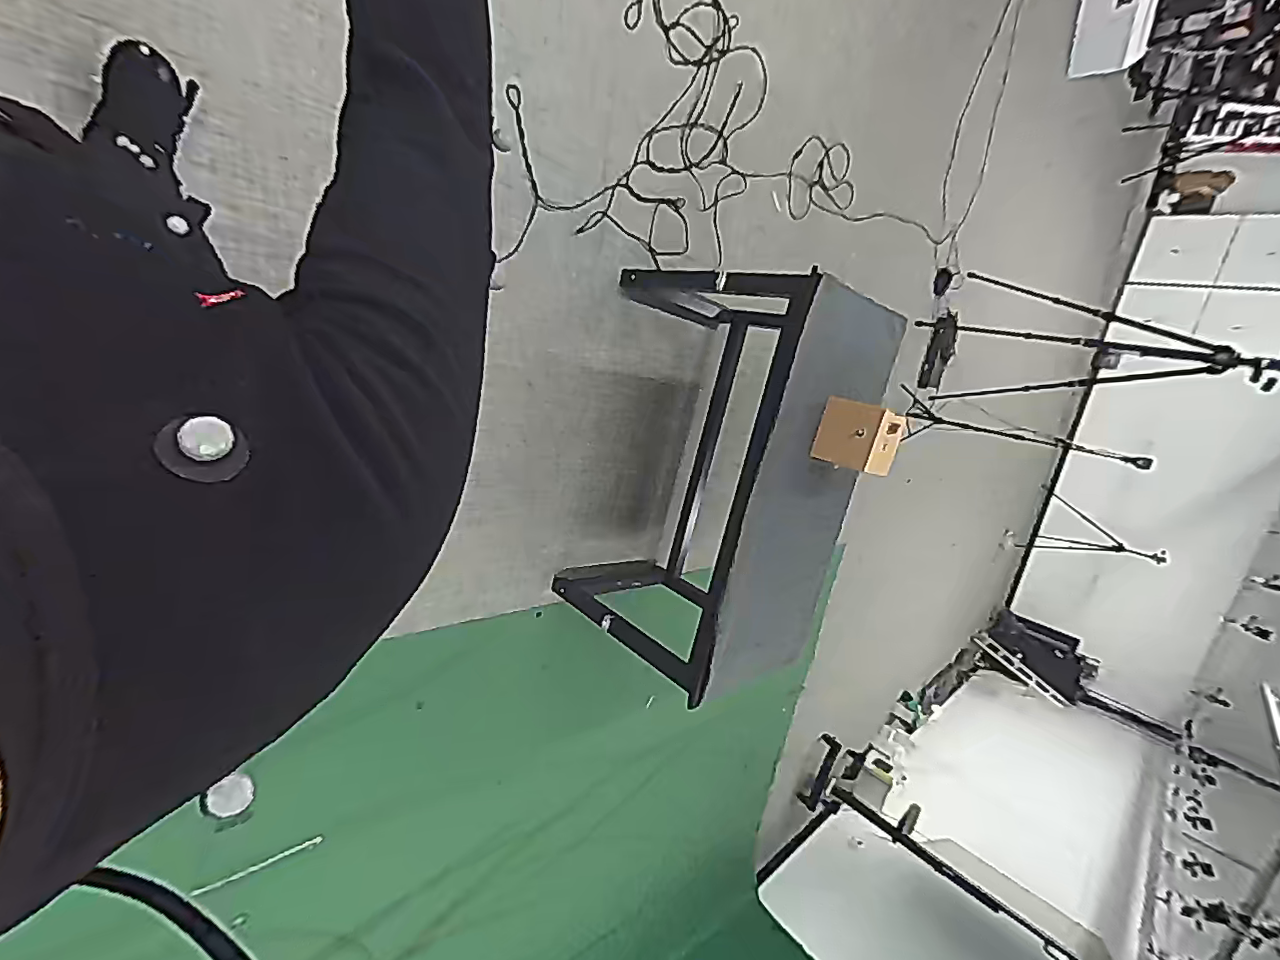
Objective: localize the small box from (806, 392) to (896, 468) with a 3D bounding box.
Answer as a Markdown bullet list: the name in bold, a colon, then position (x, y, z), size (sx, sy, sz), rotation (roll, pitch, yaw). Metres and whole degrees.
- **small box**: position (0.599, -0.144, 1.547), size (0.168, 0.176, 0.179), rotation (5, 104, -46)
